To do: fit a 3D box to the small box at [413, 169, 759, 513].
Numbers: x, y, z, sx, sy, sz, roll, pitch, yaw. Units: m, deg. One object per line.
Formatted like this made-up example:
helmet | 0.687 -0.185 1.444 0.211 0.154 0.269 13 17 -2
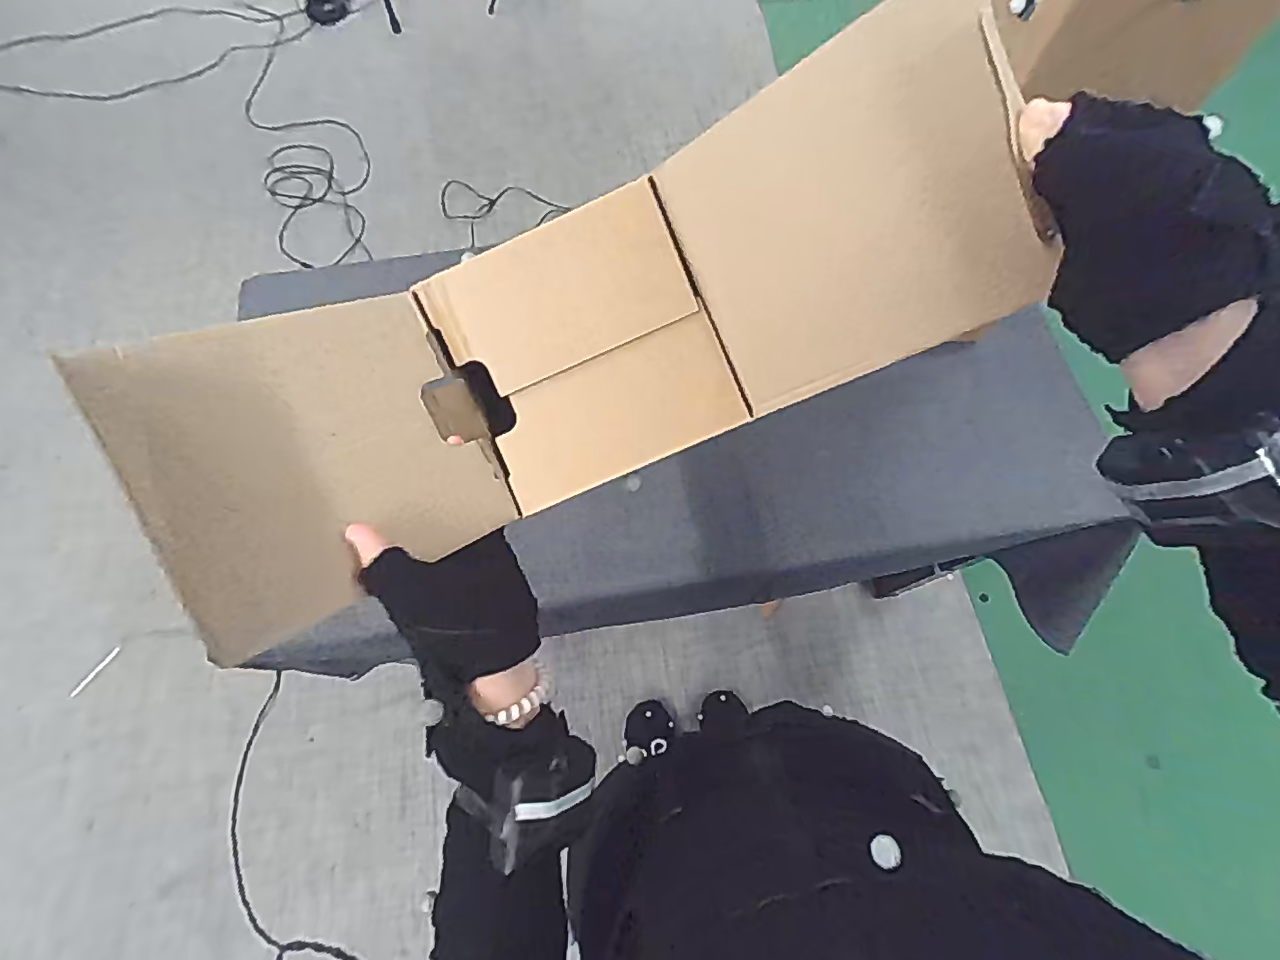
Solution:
small box | -0.033 -0.094 0.420 0.179 0.176 0.168 -23 96 4
